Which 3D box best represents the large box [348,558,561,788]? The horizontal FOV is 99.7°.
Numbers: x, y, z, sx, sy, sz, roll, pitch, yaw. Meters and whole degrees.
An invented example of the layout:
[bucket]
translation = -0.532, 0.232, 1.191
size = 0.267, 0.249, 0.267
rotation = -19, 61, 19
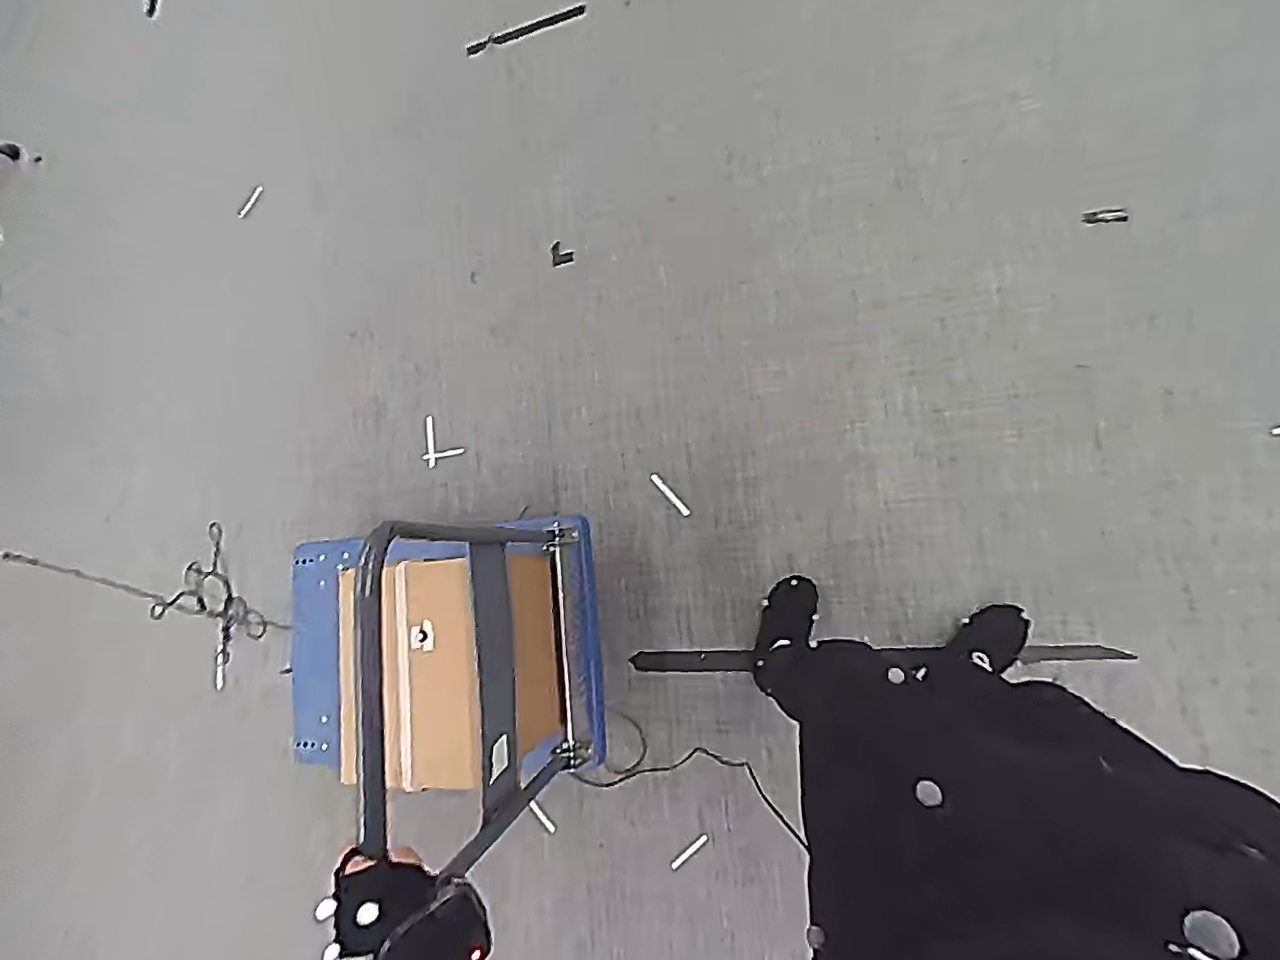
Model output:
[large box]
translation = -0.381, 0.383, 1.157
size = 0.320, 0.320, 0.408
rotation = -7, 81, 16
